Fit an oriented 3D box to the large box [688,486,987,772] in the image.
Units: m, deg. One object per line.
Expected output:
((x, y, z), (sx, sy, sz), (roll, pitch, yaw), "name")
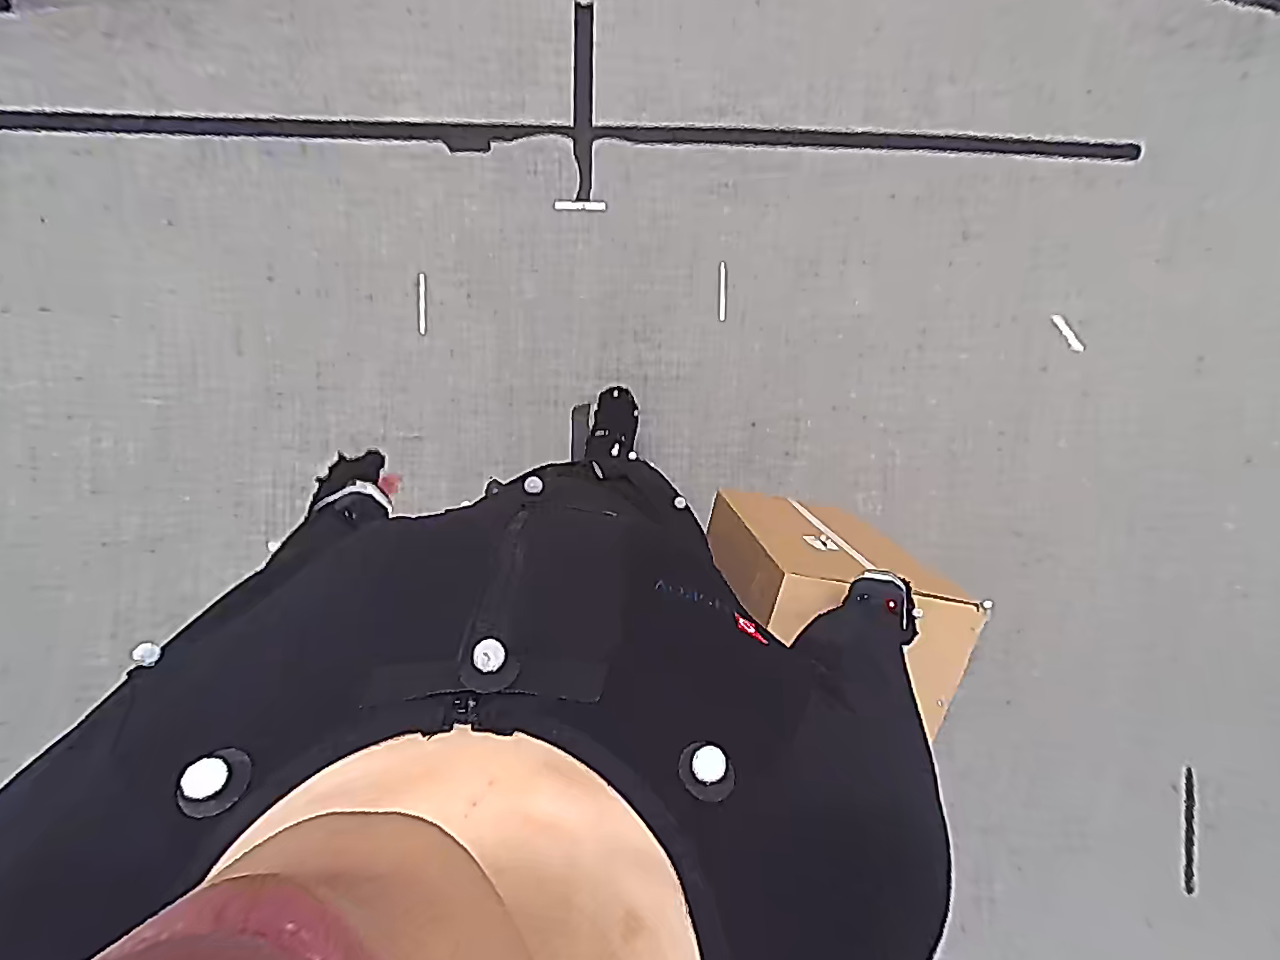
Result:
((0.301, 0.238, 0.981), (0.320, 0.408, 0.320), (10, 105, -8), "large box")
